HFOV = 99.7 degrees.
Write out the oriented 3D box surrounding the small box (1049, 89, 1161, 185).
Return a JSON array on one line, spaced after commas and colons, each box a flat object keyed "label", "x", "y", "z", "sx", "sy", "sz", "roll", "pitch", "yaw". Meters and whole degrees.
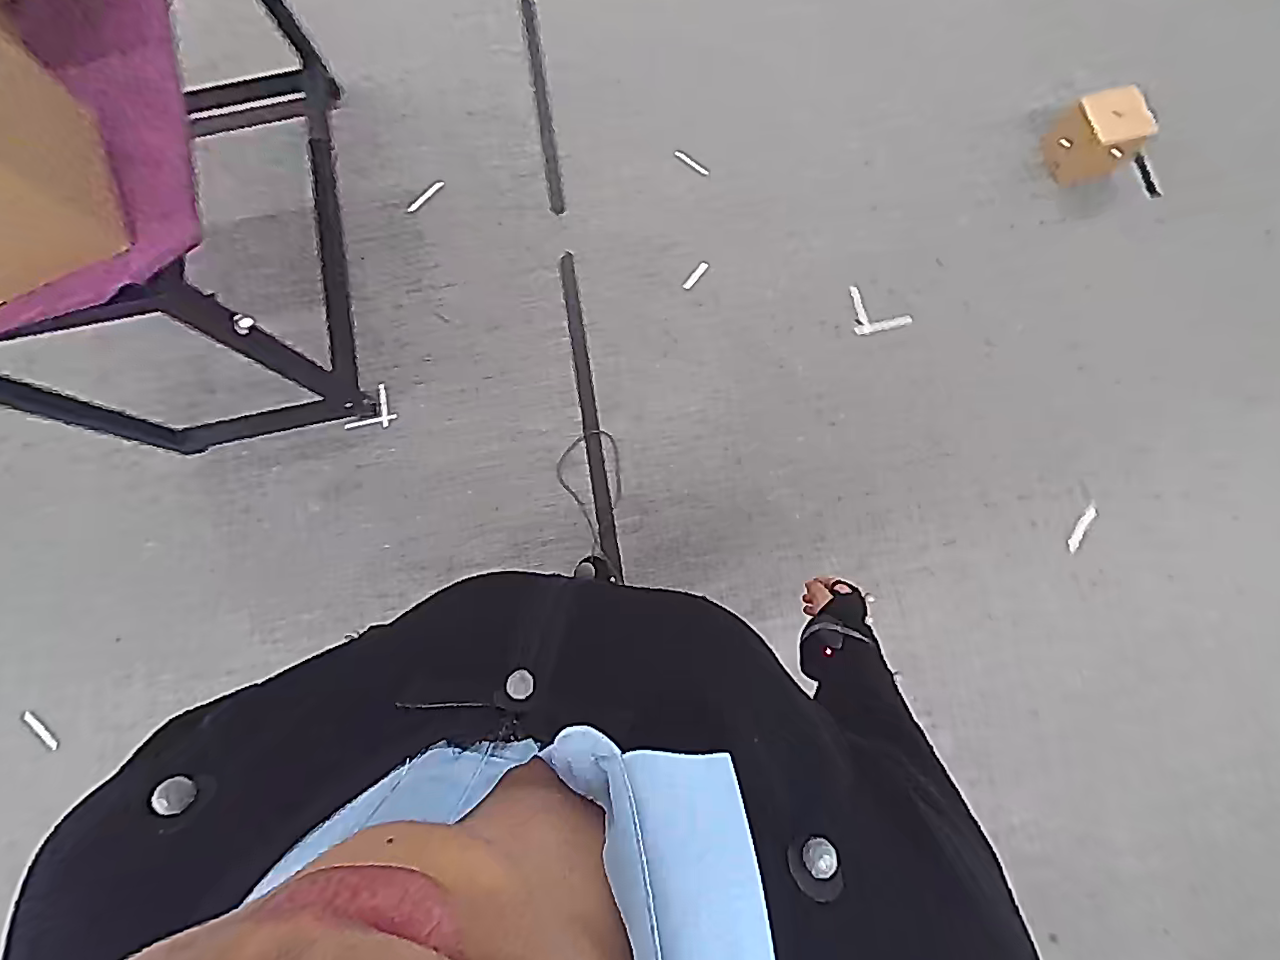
[{"label": "small box", "x": 1.384, "y": -1.024, "z": 1.629, "sx": 0.179, "sy": 0.176, "sz": 0.168, "roll": -12, "pitch": 80, "yaw": -1}]
